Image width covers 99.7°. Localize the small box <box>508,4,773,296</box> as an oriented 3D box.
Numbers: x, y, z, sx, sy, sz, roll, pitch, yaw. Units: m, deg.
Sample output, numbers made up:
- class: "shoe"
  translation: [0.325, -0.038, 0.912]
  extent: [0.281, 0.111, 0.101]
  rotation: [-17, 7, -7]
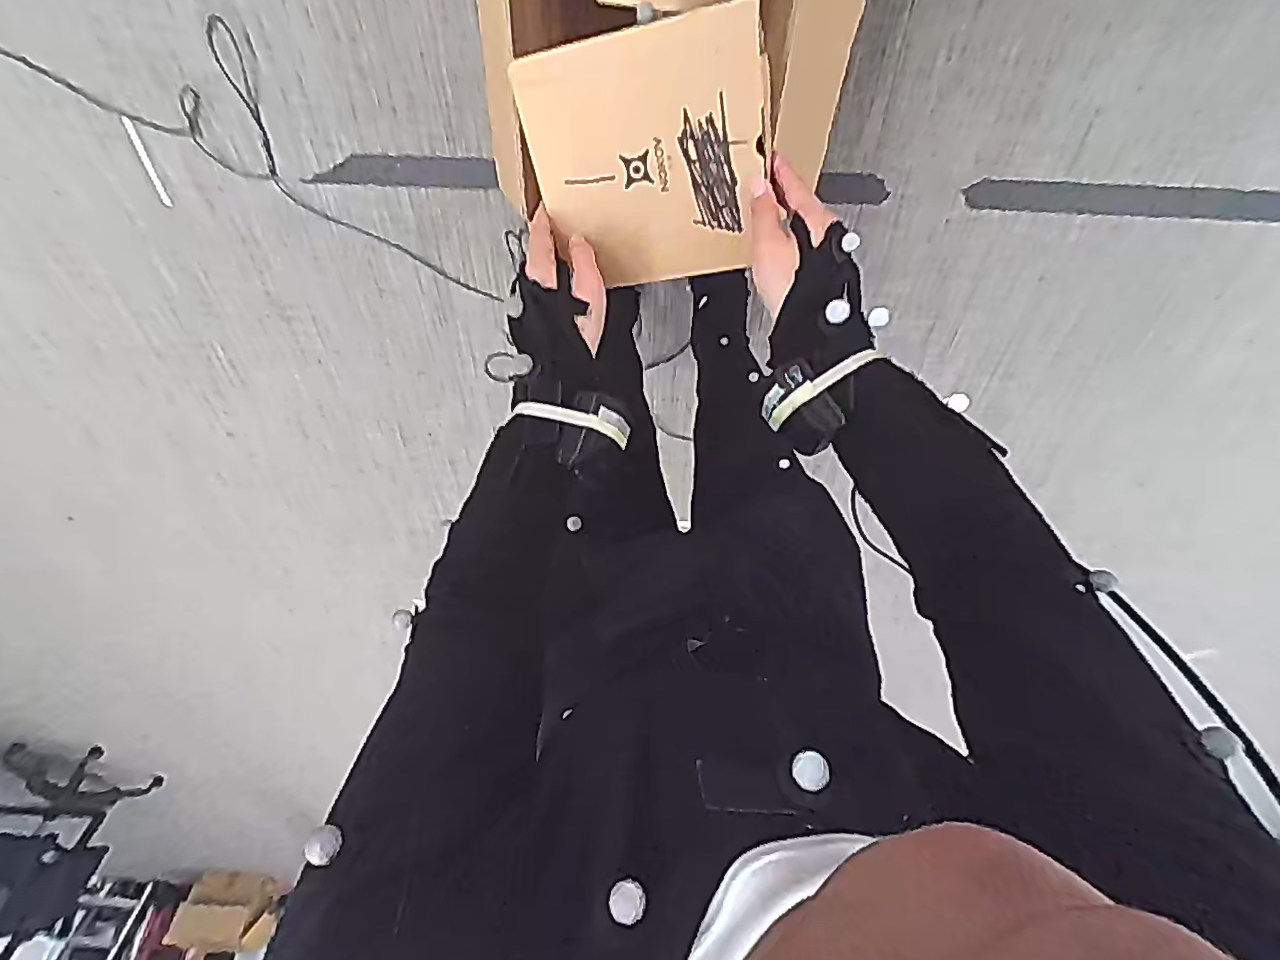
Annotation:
- class: "small box"
  translation: [0.013, -0.281, 0.467]
  extent: [0.179, 0.176, 0.168]
  rotation: [-6, 127, 11]
